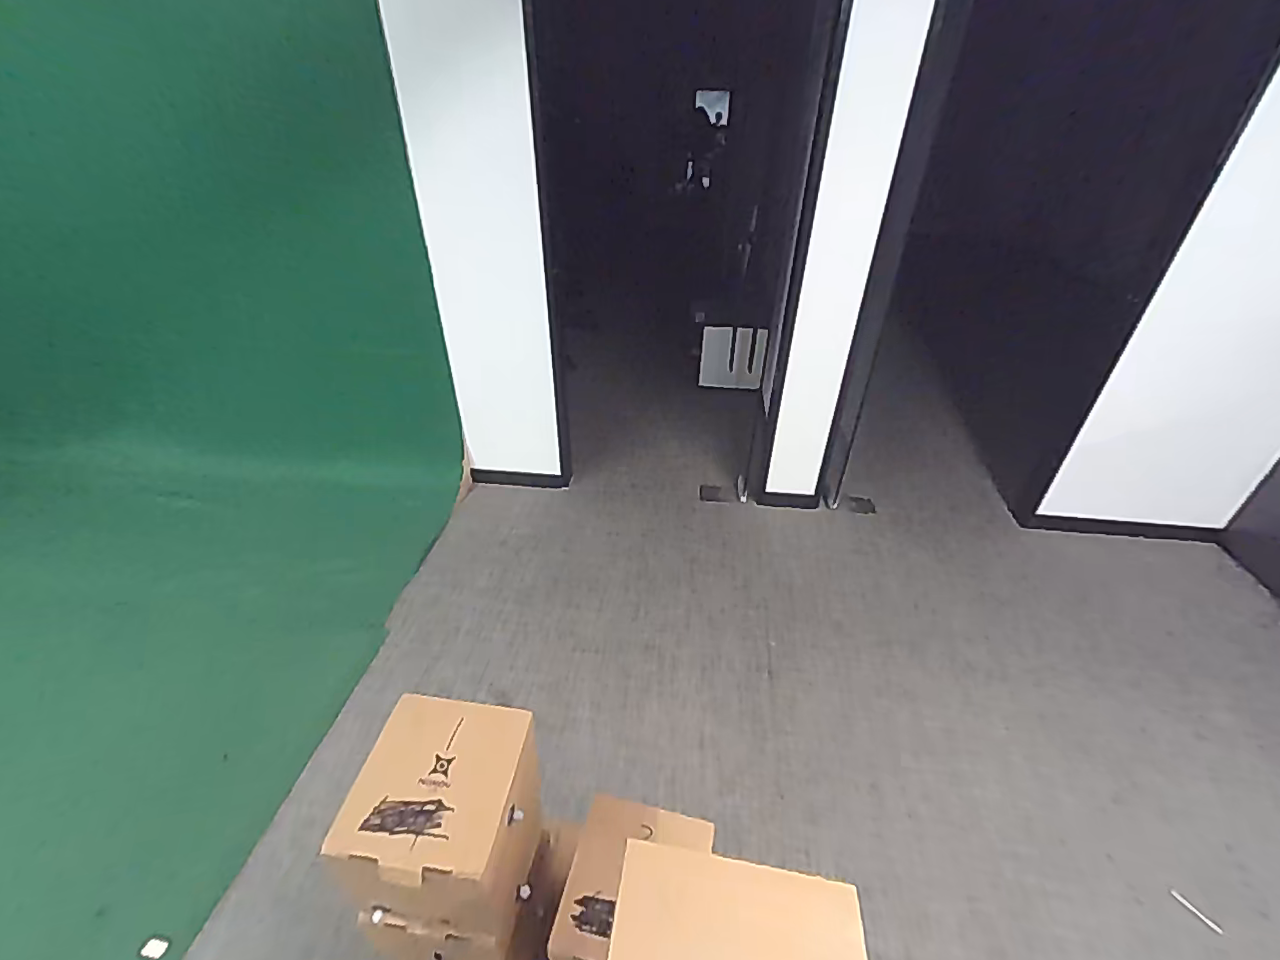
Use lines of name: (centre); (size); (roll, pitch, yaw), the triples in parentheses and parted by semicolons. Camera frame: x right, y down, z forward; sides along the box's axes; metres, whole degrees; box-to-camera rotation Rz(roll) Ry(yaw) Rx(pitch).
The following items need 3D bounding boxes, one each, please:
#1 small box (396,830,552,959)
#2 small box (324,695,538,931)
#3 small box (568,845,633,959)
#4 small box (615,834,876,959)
small box: (-0.234, 0.653, 0.821); (0.168, 0.176, 0.179); (7, 35, 5)
small box: (-0.221, 0.385, 0.631); (0.168, 0.176, 0.179); (6, 34, 4)
small box: (-0.005, 0.681, 0.784); (0.168, 0.176, 0.179); (8, 35, 11)
small box: (0.057, 0.382, 0.359); (0.168, 0.176, 0.179); (7, 34, 6)
